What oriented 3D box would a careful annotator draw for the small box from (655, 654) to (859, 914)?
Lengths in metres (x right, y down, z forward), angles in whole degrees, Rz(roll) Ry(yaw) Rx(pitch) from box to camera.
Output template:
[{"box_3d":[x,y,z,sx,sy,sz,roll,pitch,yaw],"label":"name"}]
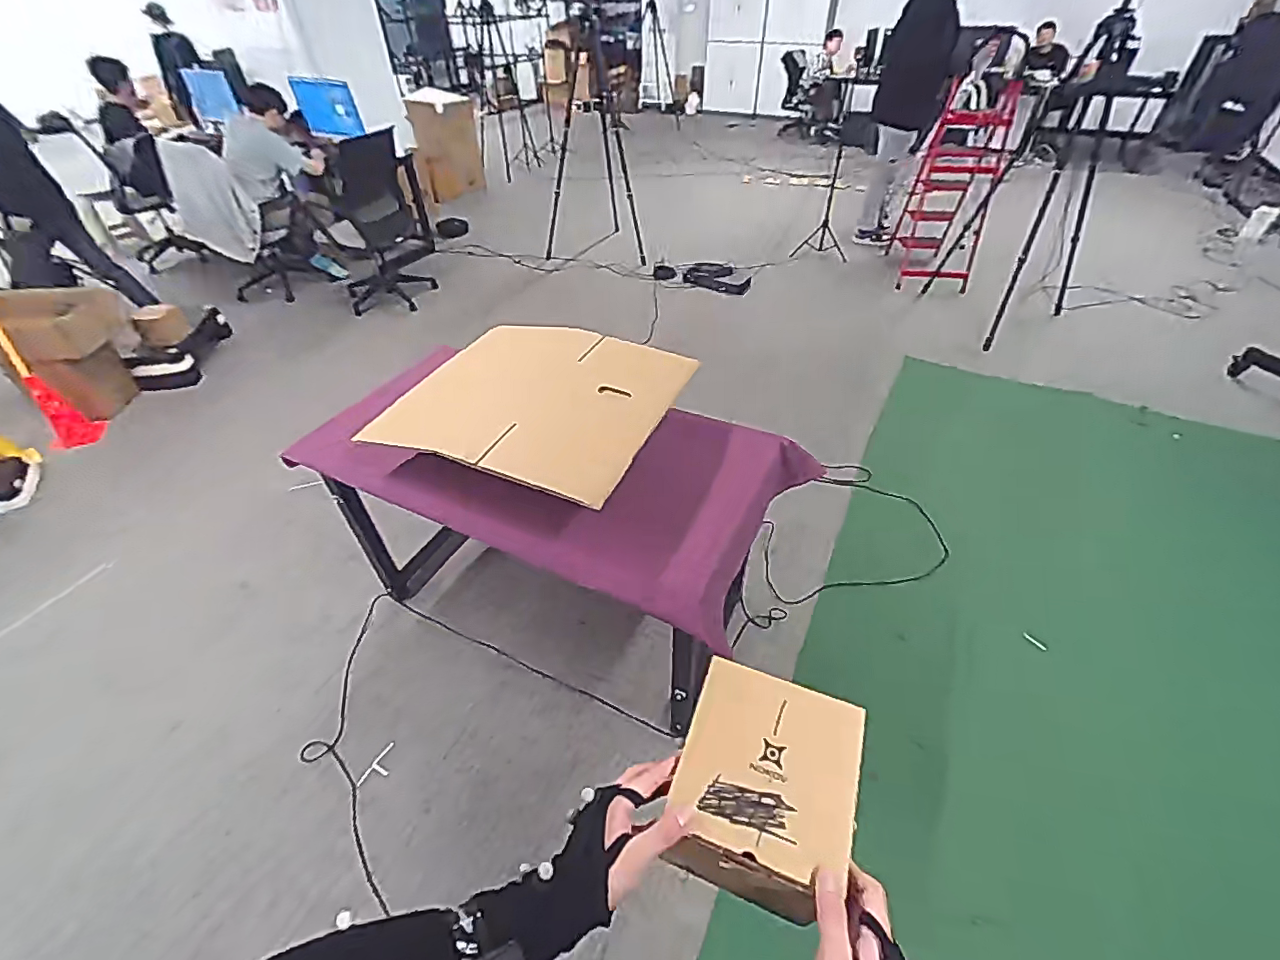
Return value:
[{"box_3d":[0.122,0.326,0.580,0.168,0.176,0.179,15,47,15],"label":"small box"}]
